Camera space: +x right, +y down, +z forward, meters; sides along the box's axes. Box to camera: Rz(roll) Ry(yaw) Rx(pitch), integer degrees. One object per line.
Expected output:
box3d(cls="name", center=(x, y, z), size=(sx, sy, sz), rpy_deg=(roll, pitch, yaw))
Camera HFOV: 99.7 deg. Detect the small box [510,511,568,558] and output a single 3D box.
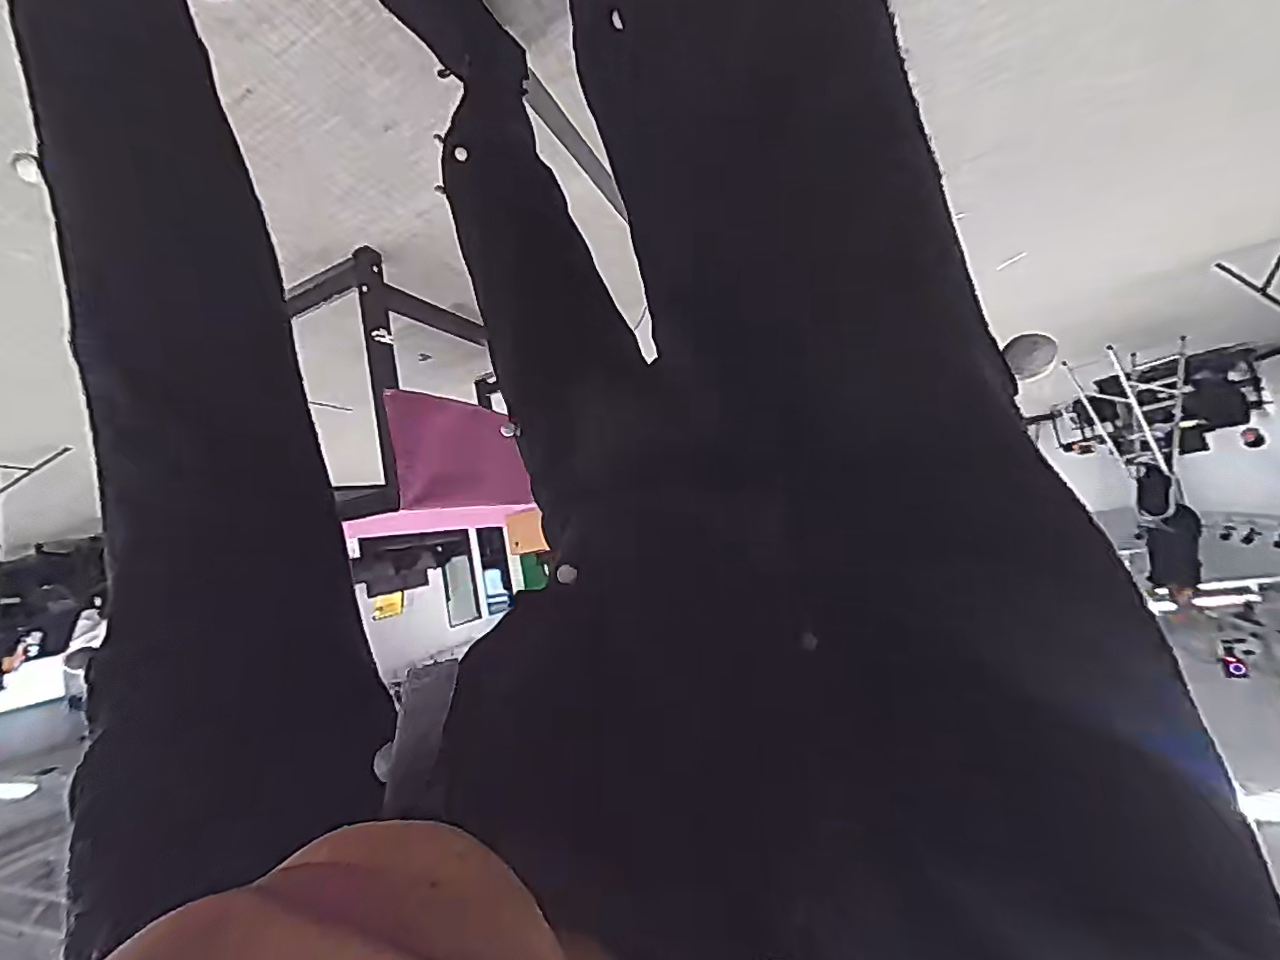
box3d(cls="small box", center=(-0.430, 0.226, 2.286), size=(0.179, 0.176, 0.168), rpy_deg=(-15, 173, 29))
